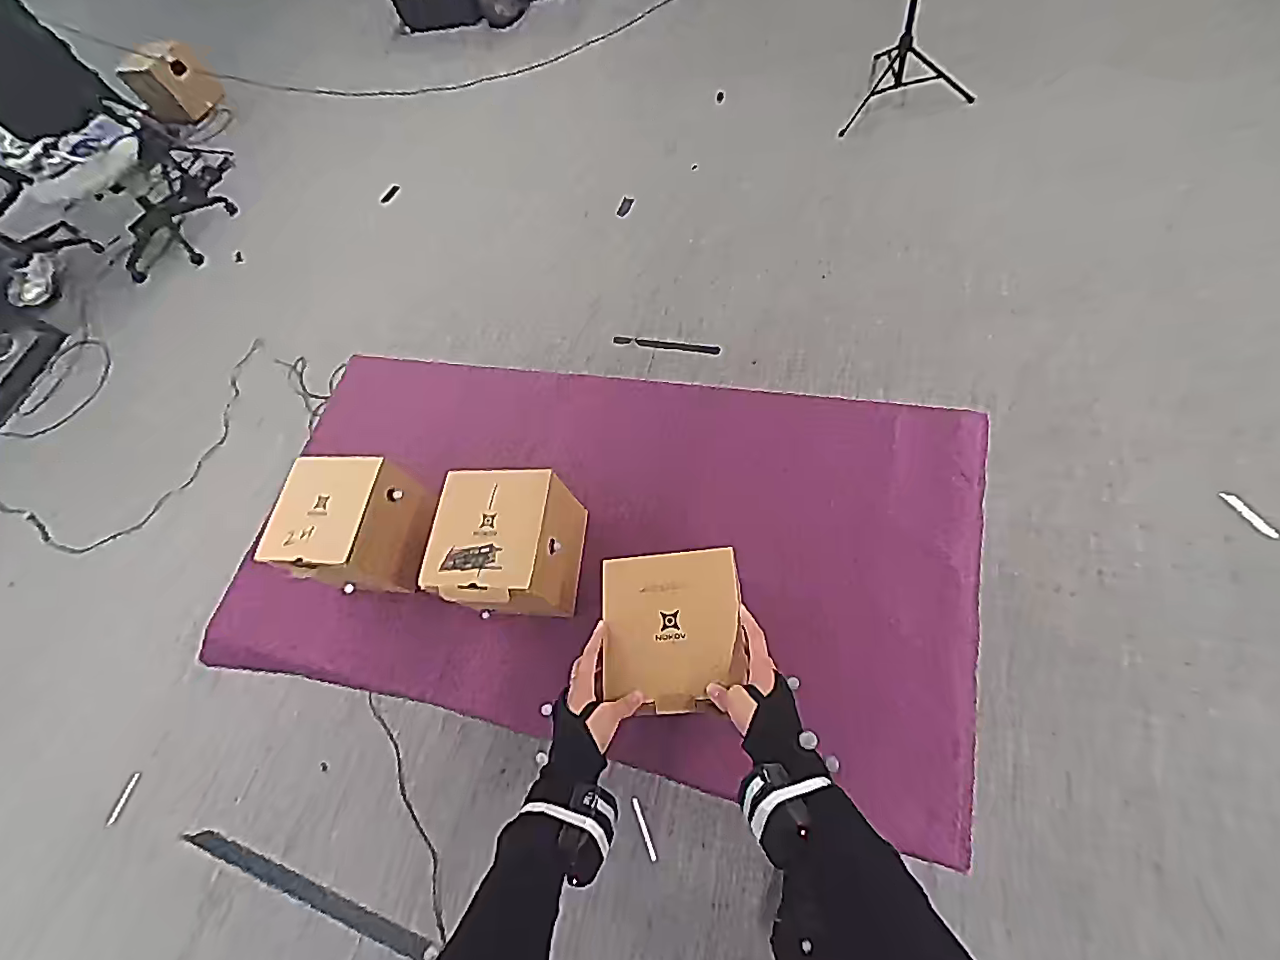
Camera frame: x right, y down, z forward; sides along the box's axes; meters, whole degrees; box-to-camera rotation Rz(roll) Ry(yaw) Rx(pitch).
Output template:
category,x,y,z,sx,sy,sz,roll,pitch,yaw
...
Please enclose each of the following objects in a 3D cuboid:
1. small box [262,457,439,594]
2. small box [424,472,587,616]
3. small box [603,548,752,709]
category,x,y,z,sx,sy,sz,roll,pitch,yaw
small box,-0.460,0.078,0.892,0.168,0.176,0.179,1,65,15
small box,-0.189,0.101,0.815,0.168,0.176,0.179,0,64,13
small box,0.054,0.203,0.708,0.168,0.176,0.179,-6,63,10
